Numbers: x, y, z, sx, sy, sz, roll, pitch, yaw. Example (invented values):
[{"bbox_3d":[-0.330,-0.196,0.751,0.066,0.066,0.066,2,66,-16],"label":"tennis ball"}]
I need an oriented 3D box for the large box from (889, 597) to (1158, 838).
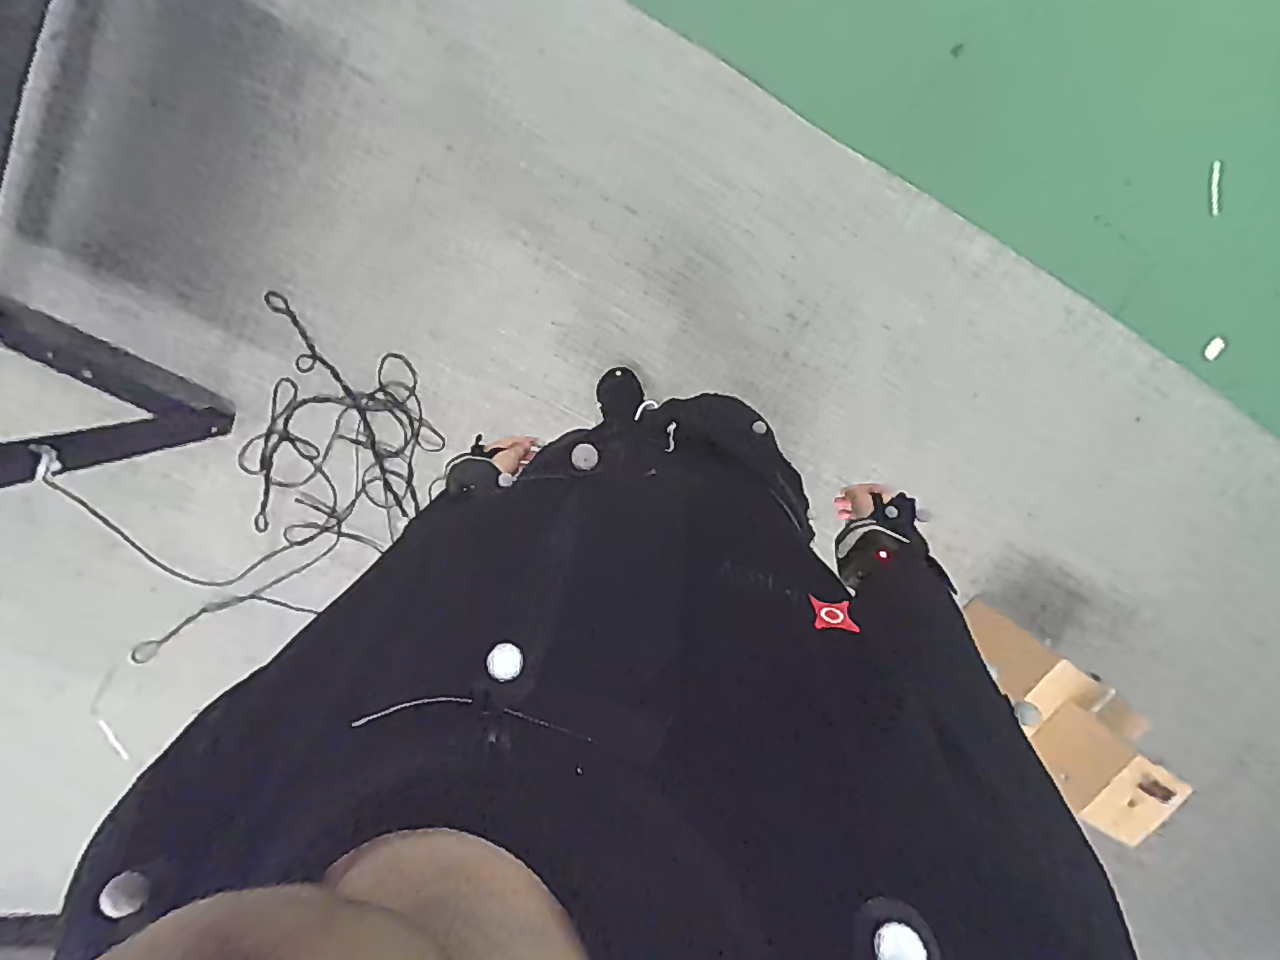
[{"bbox_3d":[0.942,0.586,1.382,0.320,0.320,0.408,33,102,-8],"label":"large box"}]
